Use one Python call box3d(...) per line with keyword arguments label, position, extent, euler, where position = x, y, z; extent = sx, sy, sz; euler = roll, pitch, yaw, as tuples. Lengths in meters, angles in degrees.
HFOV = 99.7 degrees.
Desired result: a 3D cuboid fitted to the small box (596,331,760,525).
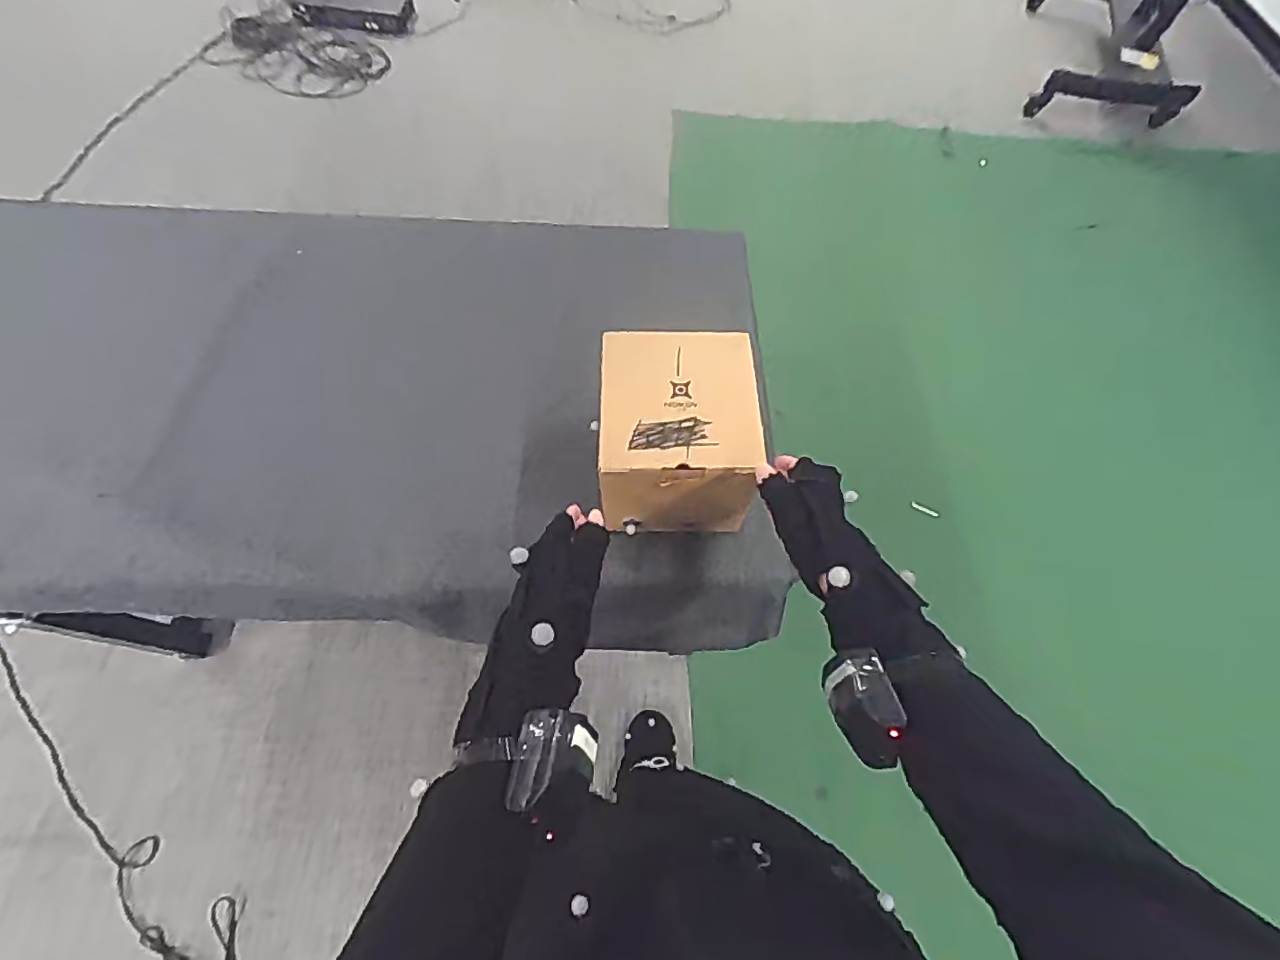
box3d(label="small box", position=(0.038, -0.053, 0.639), extent=(0.168, 0.176, 0.179), euler=(0, 63, -1))
